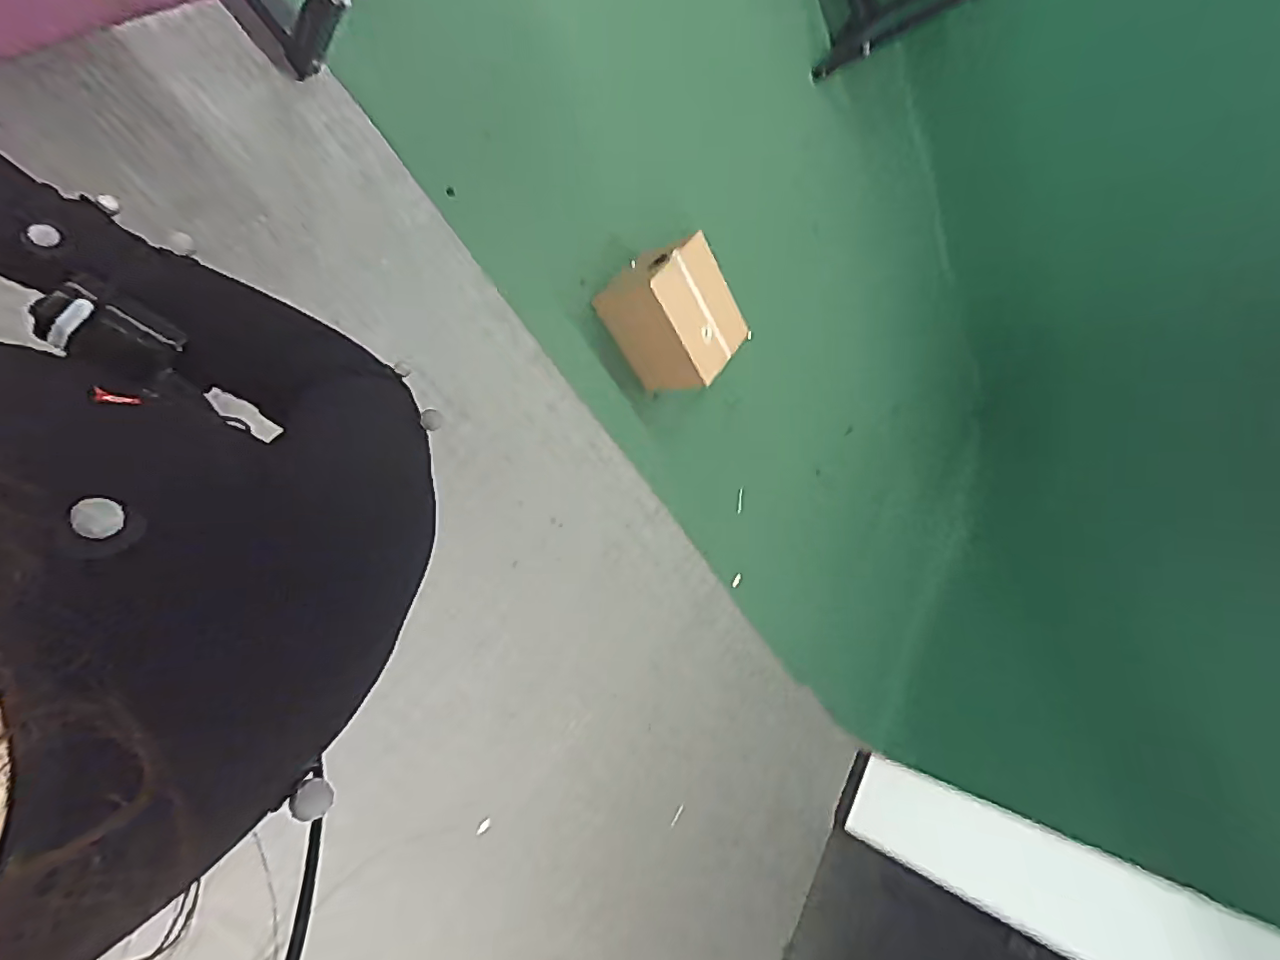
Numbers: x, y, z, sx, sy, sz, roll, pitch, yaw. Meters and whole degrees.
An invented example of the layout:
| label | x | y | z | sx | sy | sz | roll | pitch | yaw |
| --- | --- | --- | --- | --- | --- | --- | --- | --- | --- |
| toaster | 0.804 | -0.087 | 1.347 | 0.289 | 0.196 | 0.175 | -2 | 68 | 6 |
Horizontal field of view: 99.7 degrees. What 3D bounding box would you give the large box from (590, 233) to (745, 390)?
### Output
| label | x | y | z | sx | sy | sz | roll | pitch | yaw |
| --- | --- | --- | --- | --- | --- | --- | --- | --- | --- |
| large box | 0.101 | -0.571 | 1.901 | 0.320 | 0.320 | 0.408 | -52 | 125 | -26 |
